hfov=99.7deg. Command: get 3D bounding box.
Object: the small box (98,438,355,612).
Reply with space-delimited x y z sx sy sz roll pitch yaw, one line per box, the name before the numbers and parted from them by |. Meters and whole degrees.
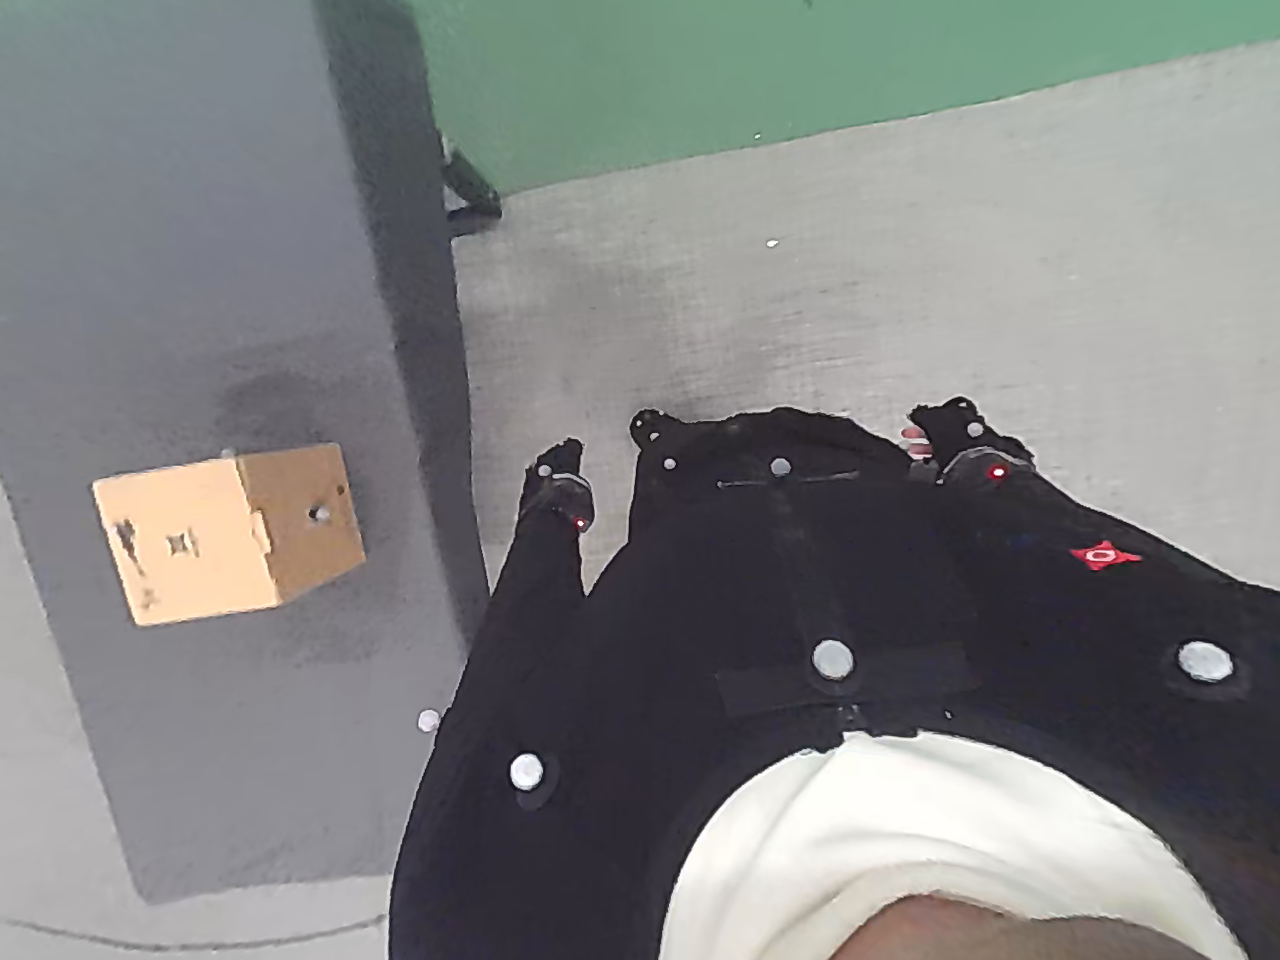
small box | -0.482 0.045 0.665 0.179 0.176 0.168 -8 98 6
